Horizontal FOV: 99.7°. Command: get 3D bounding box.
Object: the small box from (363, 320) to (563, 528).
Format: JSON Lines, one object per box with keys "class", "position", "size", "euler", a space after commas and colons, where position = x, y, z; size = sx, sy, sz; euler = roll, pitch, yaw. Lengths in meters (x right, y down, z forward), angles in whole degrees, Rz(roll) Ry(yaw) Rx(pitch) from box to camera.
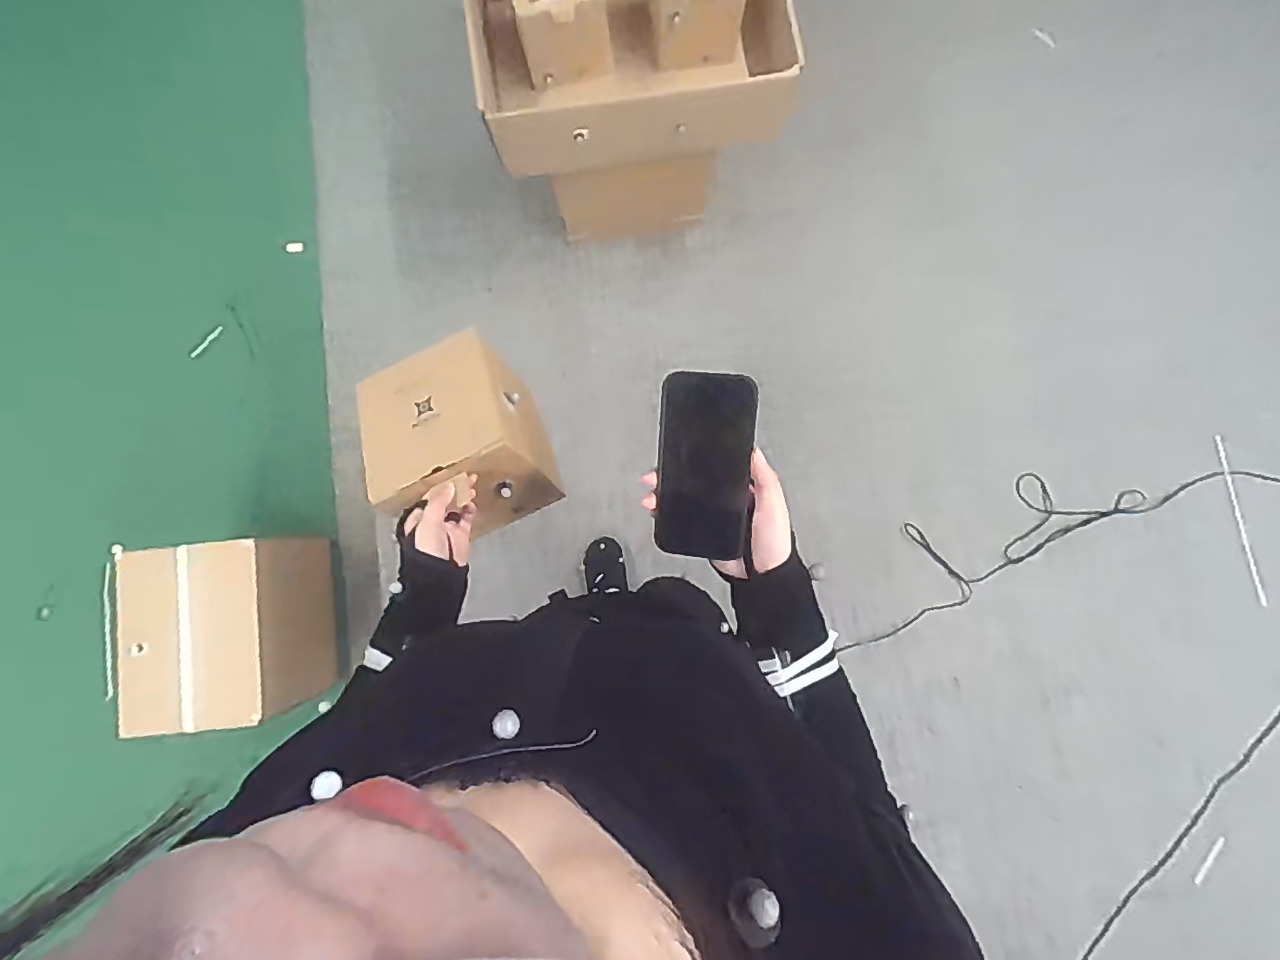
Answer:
{"class": "small box", "position": [-0.213, -0.056, 0.675], "size": [0.168, 0.176, 0.179], "euler": [-23, 62, 6]}
